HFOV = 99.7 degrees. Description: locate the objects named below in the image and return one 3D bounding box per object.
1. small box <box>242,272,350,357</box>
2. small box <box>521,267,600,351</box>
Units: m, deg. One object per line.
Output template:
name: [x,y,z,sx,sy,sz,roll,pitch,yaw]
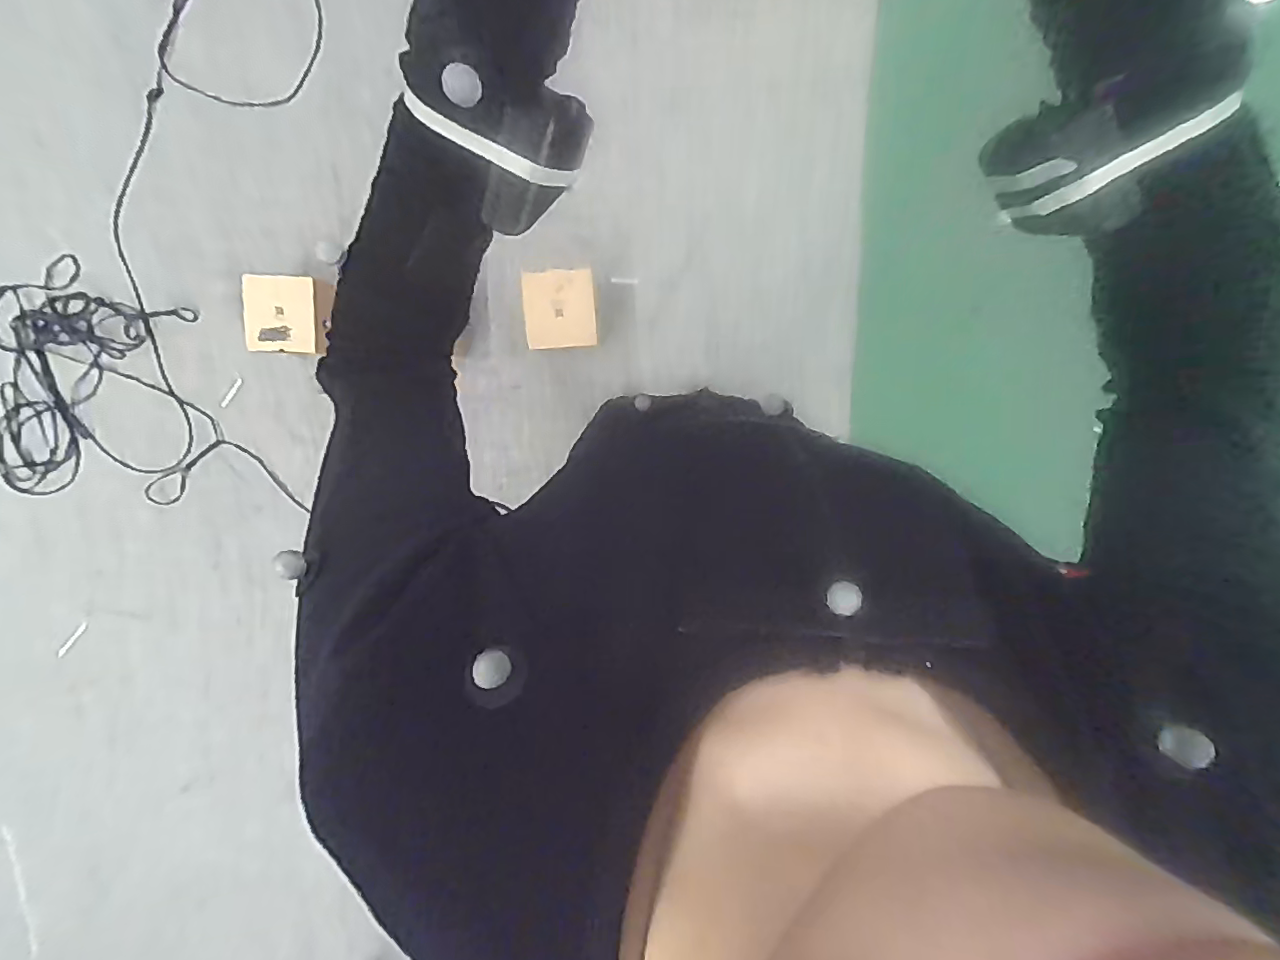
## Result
small box: [-0.839,-0.401,1.336,0.168,0.176,0.179,3,98,0]
small box: [-0.189,-0.413,1.335,0.168,0.176,0.179,-4,99,0]
